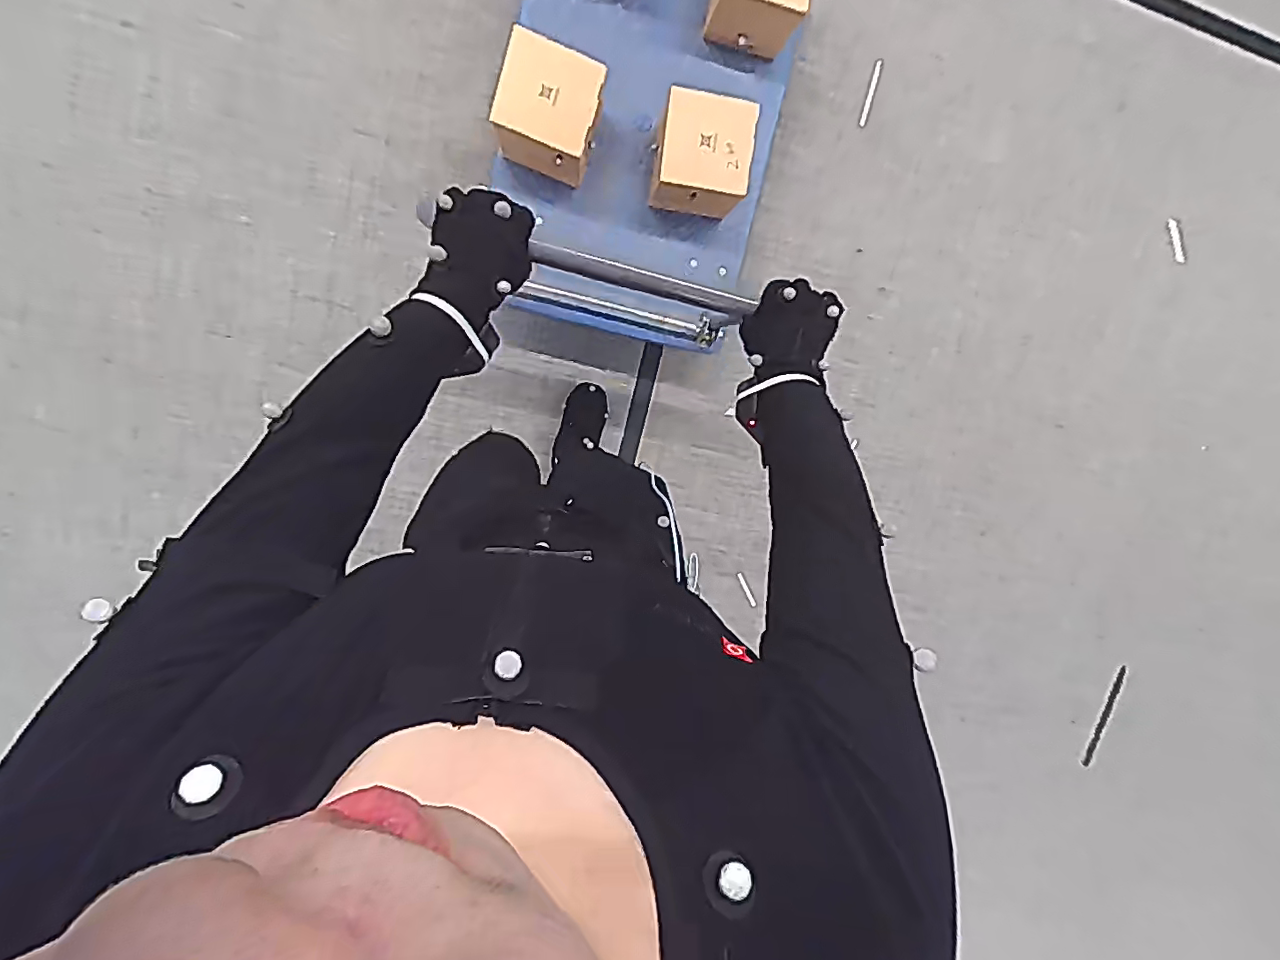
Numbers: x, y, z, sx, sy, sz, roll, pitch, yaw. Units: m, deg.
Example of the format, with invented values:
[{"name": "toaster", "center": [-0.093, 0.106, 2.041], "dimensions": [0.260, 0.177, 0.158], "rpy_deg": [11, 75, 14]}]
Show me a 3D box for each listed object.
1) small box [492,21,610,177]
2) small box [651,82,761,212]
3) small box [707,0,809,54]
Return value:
[{"name": "small box", "center": [-0.172, -0.726, 1.056], "dimensions": [0.179, 0.176, 0.168], "rpy_deg": [17, 99, -12]}, {"name": "small box", "center": [0.124, -0.667, 1.106], "dimensions": [0.179, 0.176, 0.168], "rpy_deg": [6, 101, -8]}, {"name": "small box", "center": [0.239, -0.988, 1.050], "dimensions": [0.168, 0.176, 0.179], "rpy_deg": [10, 102, -9]}]
